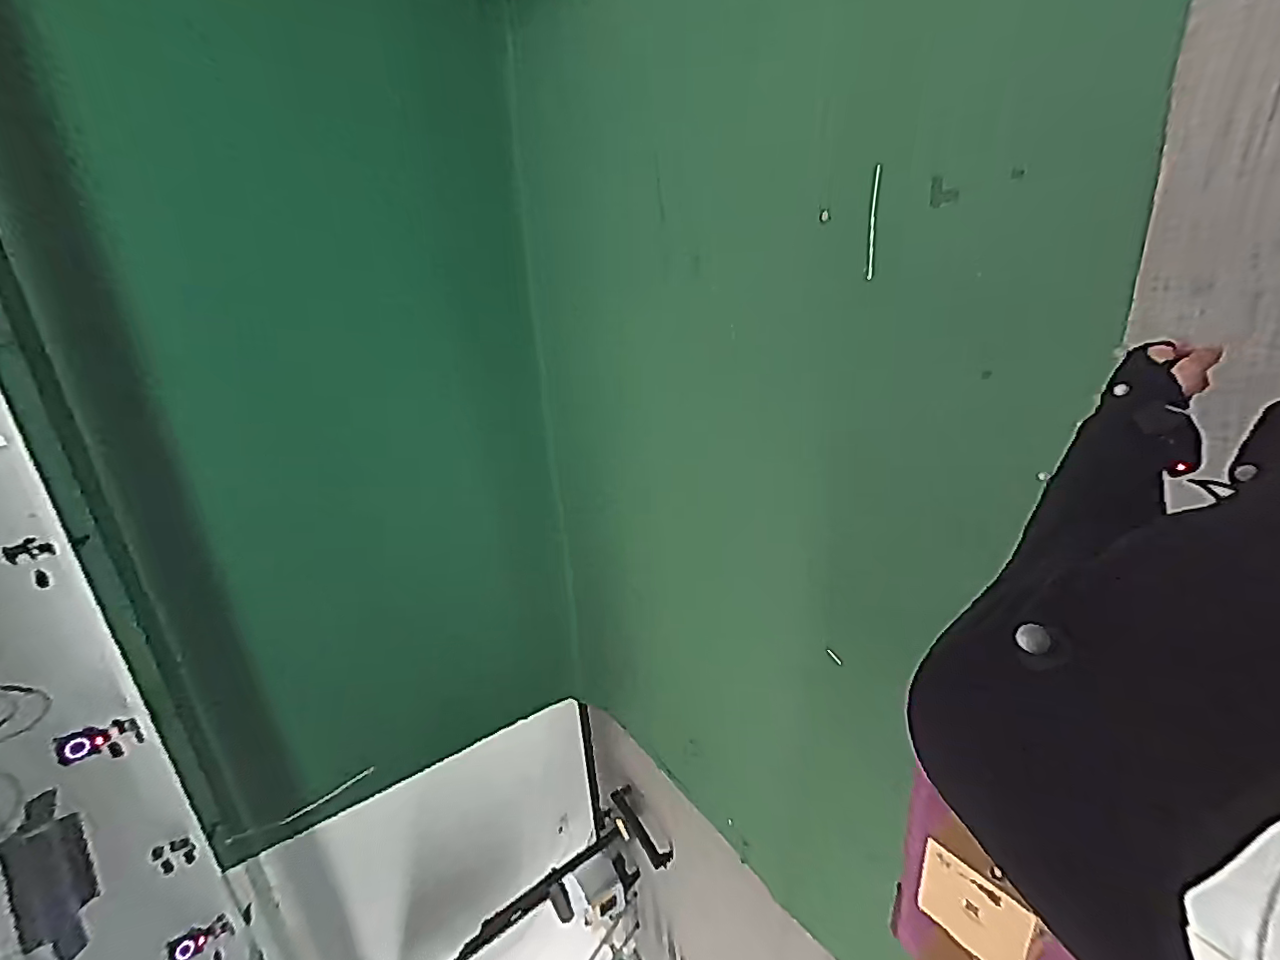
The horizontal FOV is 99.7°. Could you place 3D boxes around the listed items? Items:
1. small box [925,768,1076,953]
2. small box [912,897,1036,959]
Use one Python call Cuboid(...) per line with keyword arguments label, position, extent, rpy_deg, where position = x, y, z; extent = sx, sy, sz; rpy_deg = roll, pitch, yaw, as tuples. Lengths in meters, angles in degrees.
Cuboid(label="small box", position=(0.646, 0.672, 0.974), extent=(0.168, 0.176, 0.179), rpy_deg=(23, 124, 51))
Cuboid(label="small box", position=(0.673, 1.005, 1.096), extent=(0.168, 0.176, 0.179), rpy_deg=(19, 120, 50))
